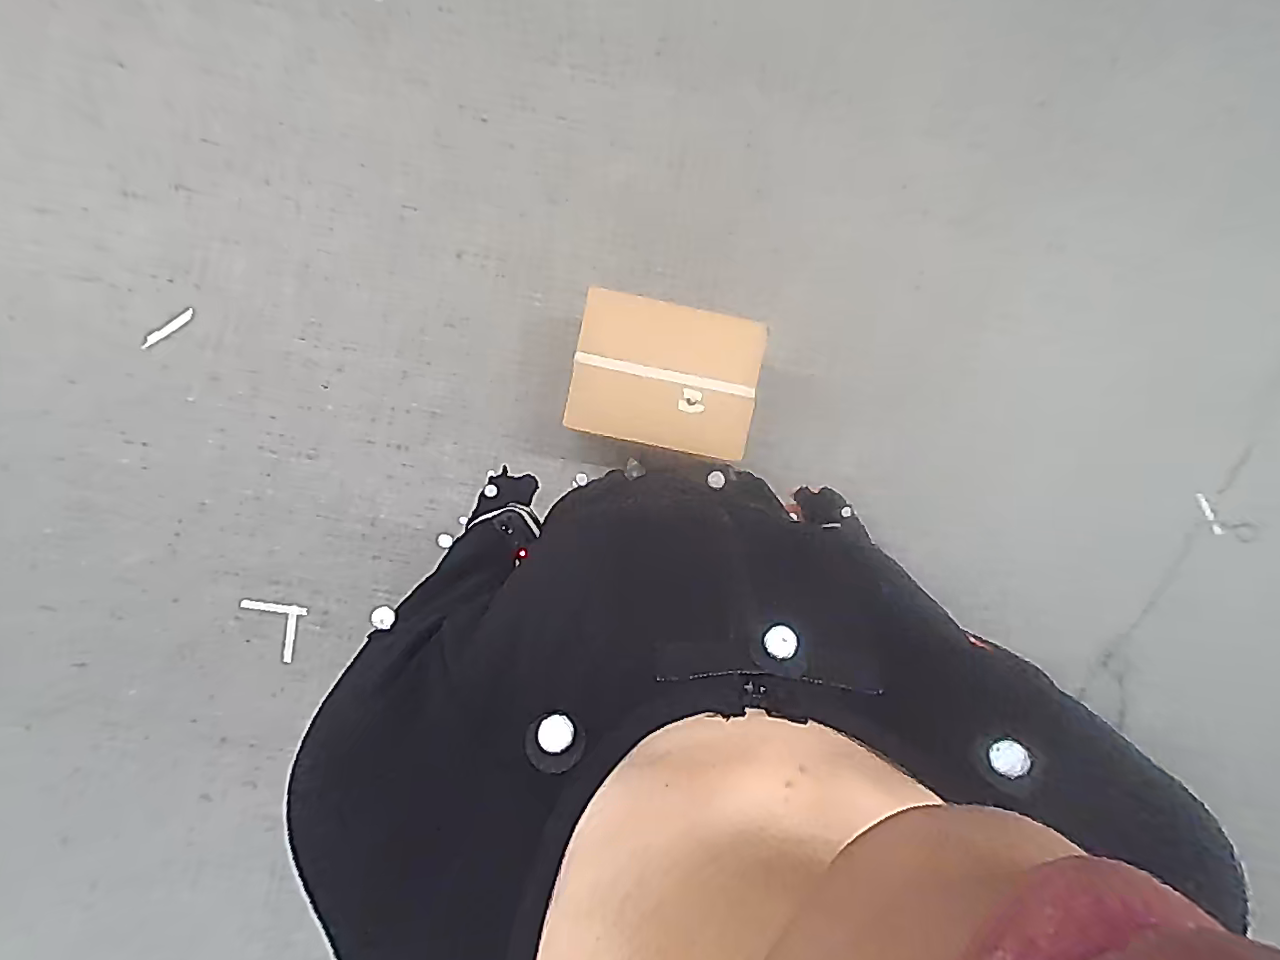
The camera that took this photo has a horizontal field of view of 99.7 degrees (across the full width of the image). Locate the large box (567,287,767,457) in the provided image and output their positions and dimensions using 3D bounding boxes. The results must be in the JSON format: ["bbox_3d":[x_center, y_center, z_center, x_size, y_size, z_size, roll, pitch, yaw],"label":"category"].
[{"bbox_3d":[0.051,-0.242,1.335,0.408,0.320,0.320,11,92,-3],"label":"large box"}]
